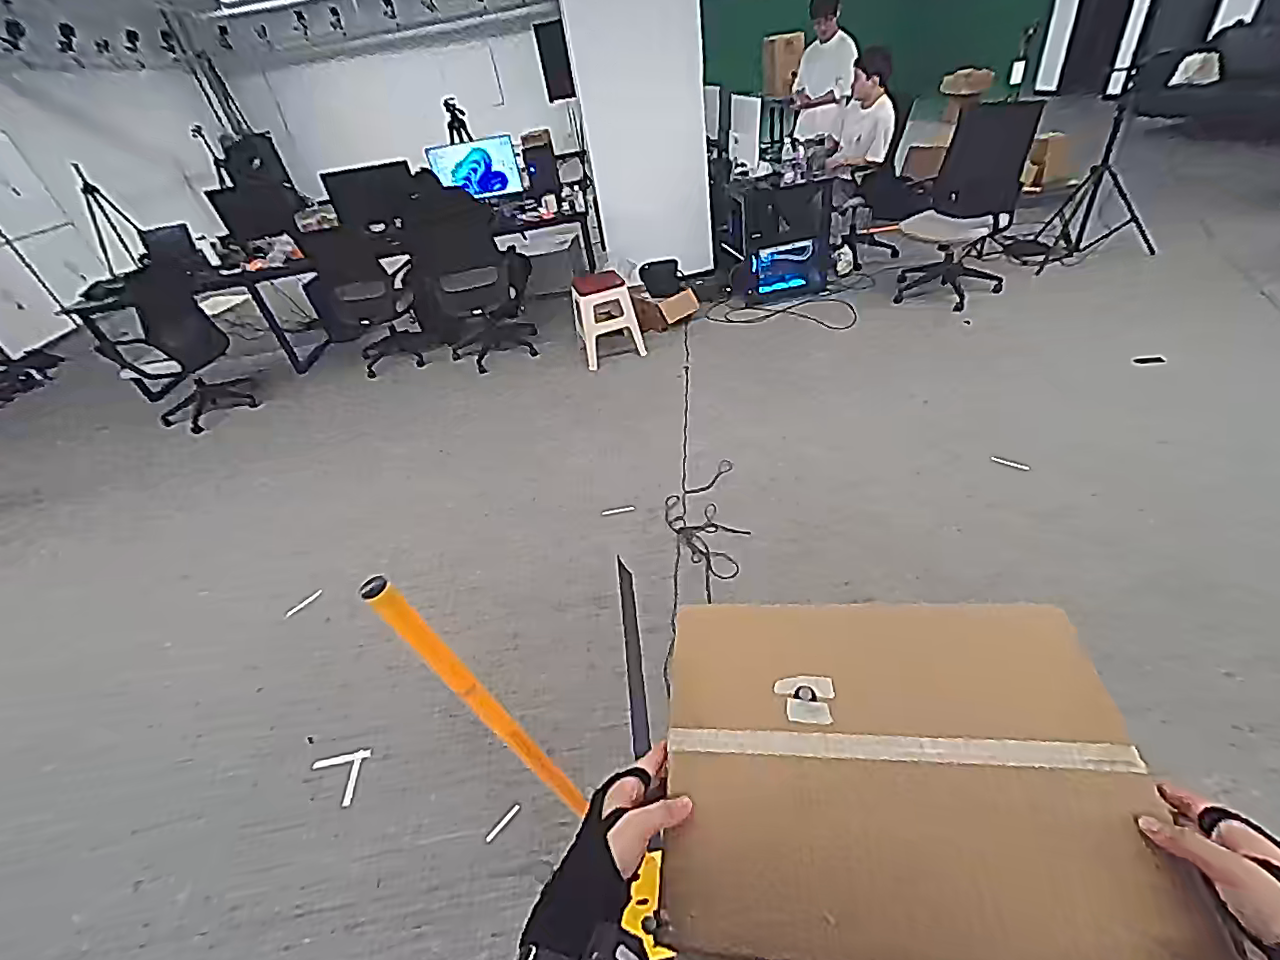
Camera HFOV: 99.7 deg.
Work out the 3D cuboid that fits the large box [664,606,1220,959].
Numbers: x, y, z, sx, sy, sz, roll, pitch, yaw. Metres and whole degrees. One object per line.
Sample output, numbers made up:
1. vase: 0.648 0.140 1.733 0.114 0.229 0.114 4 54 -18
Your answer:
1. large box: 0.257 0.361 0.613 0.408 0.320 0.320 -4 44 12
